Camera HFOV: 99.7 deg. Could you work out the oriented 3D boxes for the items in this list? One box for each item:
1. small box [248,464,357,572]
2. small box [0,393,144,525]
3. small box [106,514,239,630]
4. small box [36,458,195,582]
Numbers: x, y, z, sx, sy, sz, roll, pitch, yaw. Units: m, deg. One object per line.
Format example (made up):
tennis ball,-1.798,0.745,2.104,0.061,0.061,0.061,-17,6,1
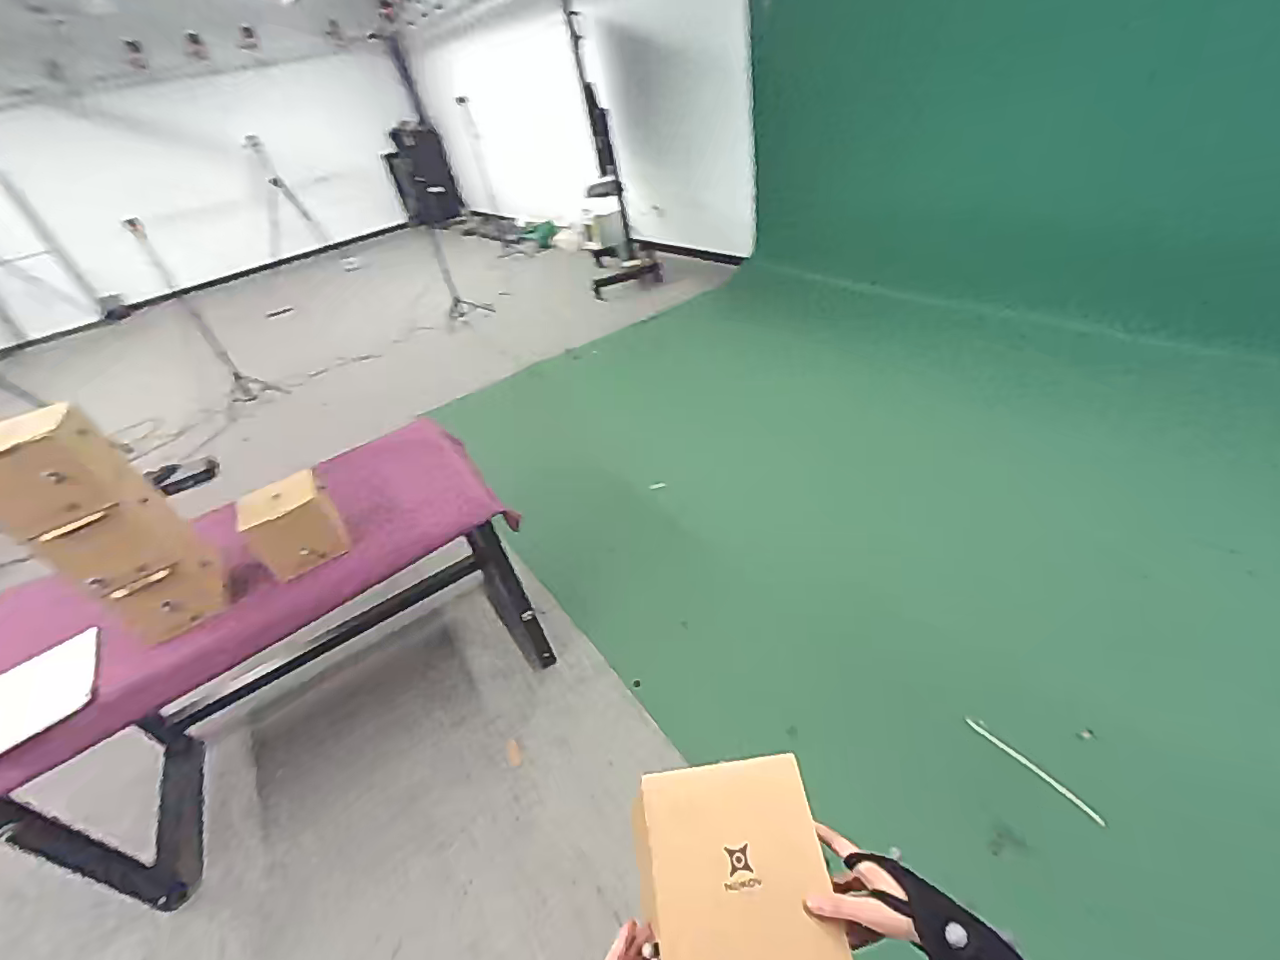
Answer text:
small box,-0.825,0.093,1.327,0.168,0.176,0.179,-29,39,-20
small box,-1.103,-0.037,1.032,0.168,0.176,0.179,-27,39,-20
small box,-1.054,0.215,1.236,0.168,0.176,0.179,-28,40,-21
small box,-1.078,0.089,1.133,0.168,0.176,0.179,-28,39,-20
